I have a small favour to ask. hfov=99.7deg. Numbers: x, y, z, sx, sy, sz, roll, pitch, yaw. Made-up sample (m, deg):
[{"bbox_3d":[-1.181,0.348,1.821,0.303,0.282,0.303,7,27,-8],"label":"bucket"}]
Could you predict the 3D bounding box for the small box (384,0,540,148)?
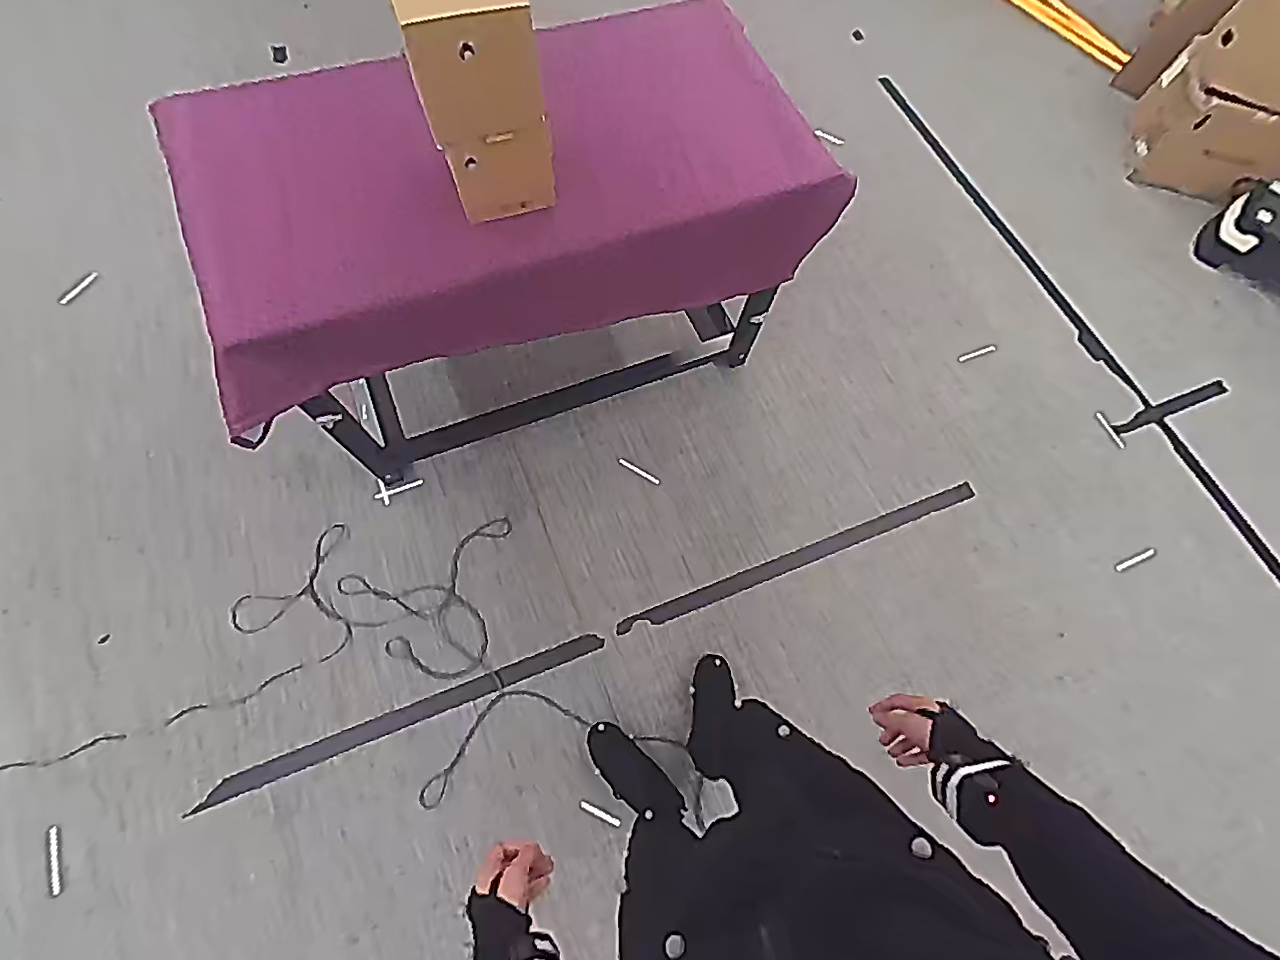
[{"bbox_3d":[-0.263,-0.635,0.810,0.179,0.176,0.168,-18,72,-11],"label":"small box"}]
